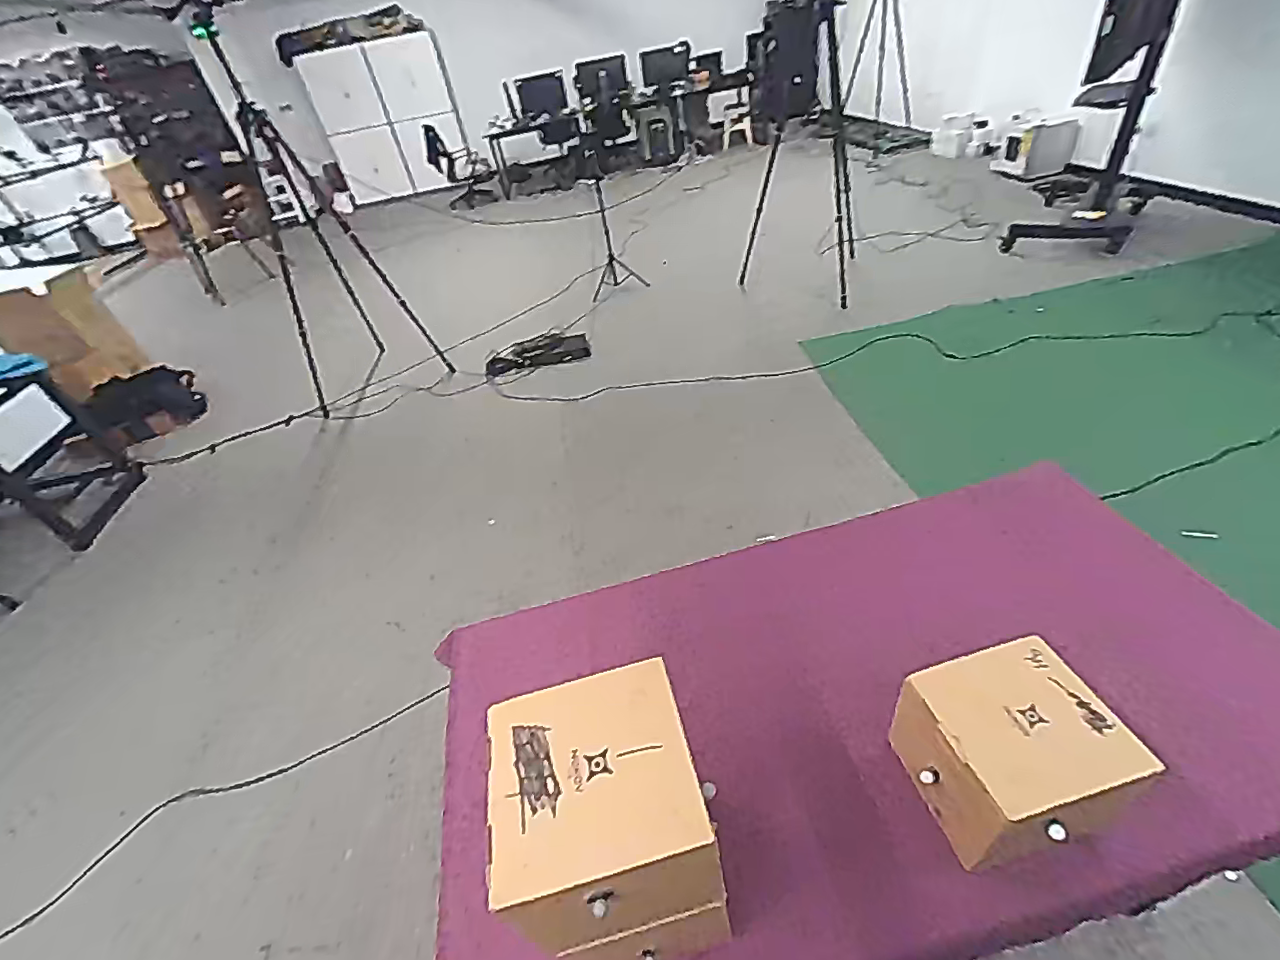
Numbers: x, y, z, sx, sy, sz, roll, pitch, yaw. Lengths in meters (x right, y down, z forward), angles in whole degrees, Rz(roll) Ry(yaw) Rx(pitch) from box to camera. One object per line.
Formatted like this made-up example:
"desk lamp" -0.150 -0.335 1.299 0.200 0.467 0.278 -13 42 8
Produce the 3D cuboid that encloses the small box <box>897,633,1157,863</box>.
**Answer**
"small box" 0.428 0.317 0.639 0.179 0.176 0.168 -16 40 -4

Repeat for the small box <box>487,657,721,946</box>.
"small box" -0.033 0.304 0.514 0.179 0.176 0.168 -15 40 -4

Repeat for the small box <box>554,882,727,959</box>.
"small box" -0.005 0.428 0.619 0.168 0.176 0.179 -15 39 -4
